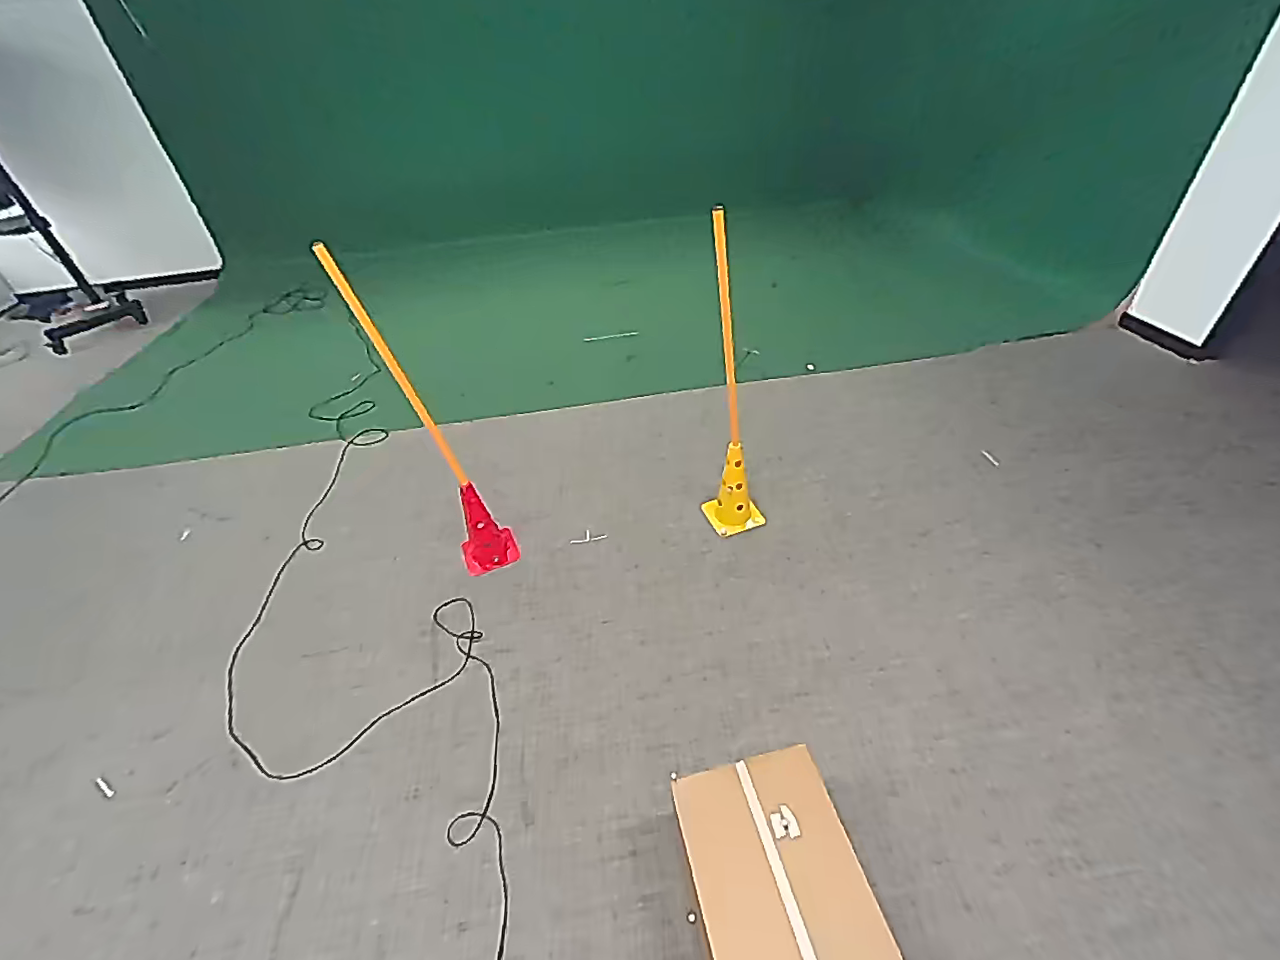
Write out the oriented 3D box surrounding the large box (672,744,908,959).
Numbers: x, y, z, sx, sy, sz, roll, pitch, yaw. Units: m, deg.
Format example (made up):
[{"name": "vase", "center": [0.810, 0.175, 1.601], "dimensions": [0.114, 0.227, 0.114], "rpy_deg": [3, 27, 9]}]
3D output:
[{"name": "large box", "center": [0.276, 0.848, 1.119], "dimensions": [0.320, 0.320, 0.408], "rpy_deg": [-11, 39, -7]}]
